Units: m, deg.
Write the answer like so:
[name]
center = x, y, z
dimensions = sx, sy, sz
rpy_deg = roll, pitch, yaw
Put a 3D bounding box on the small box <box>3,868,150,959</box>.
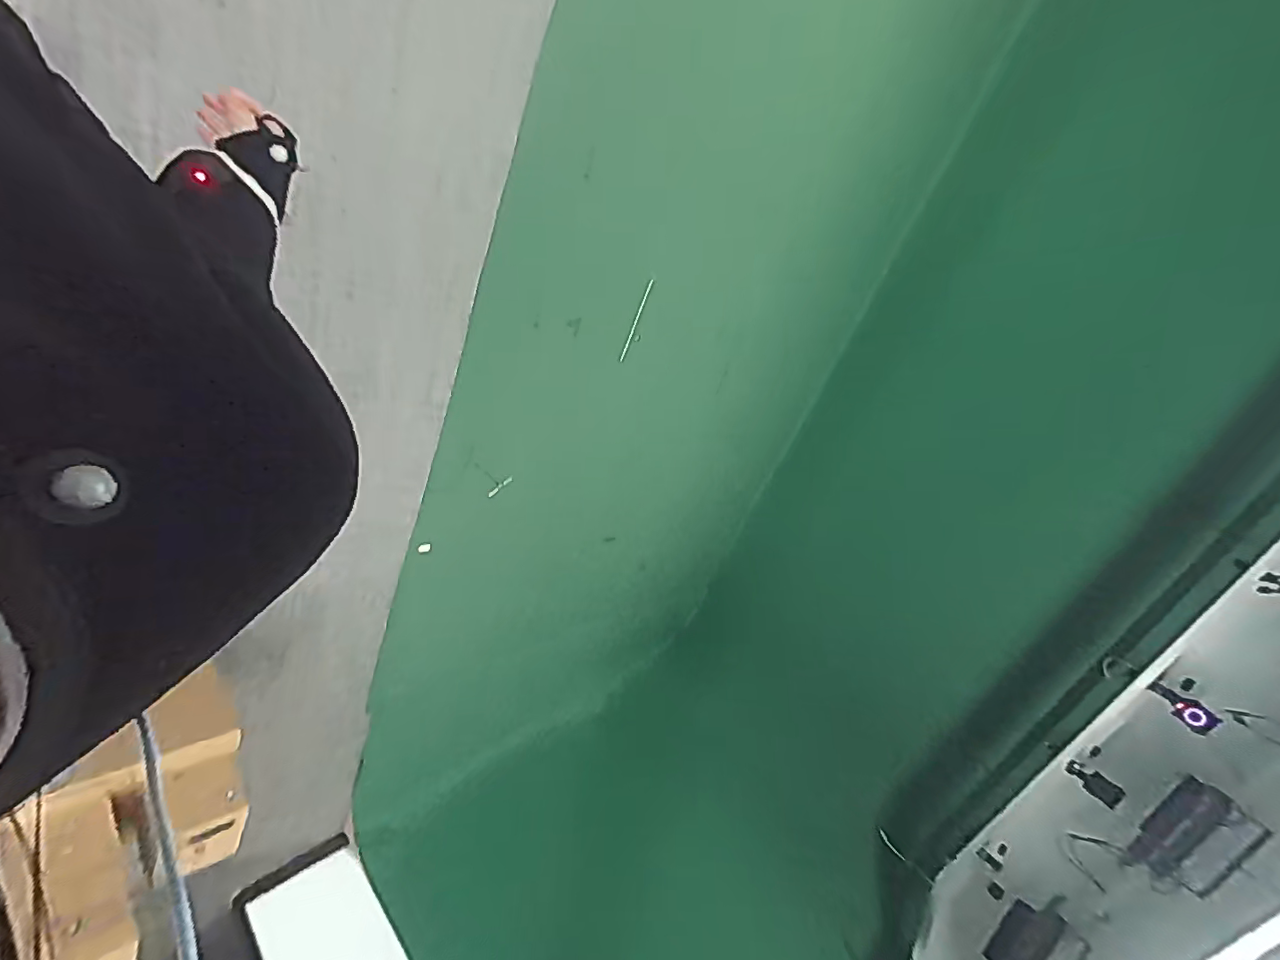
[small box]
center = -1.073, 0.903, 1.028
dimensions = 0.179, 0.176, 0.168
rpy_deg = -6, 126, -53
